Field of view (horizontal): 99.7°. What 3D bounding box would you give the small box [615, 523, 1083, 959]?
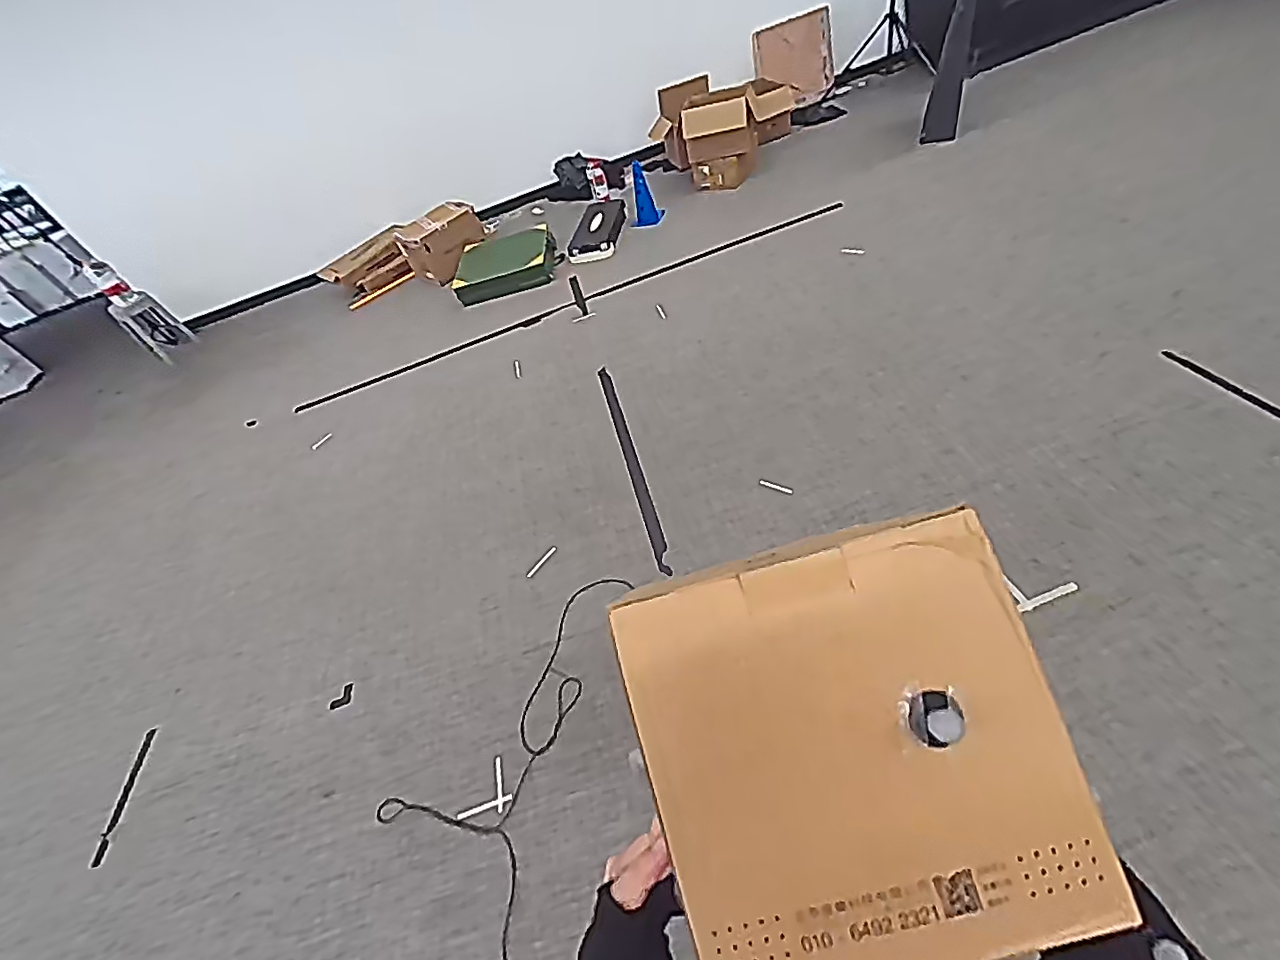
[{"bbox_3d":[0.098,0.133,0.316,0.168,0.179,0.176,-17,80,4],"label":"small box"}]
